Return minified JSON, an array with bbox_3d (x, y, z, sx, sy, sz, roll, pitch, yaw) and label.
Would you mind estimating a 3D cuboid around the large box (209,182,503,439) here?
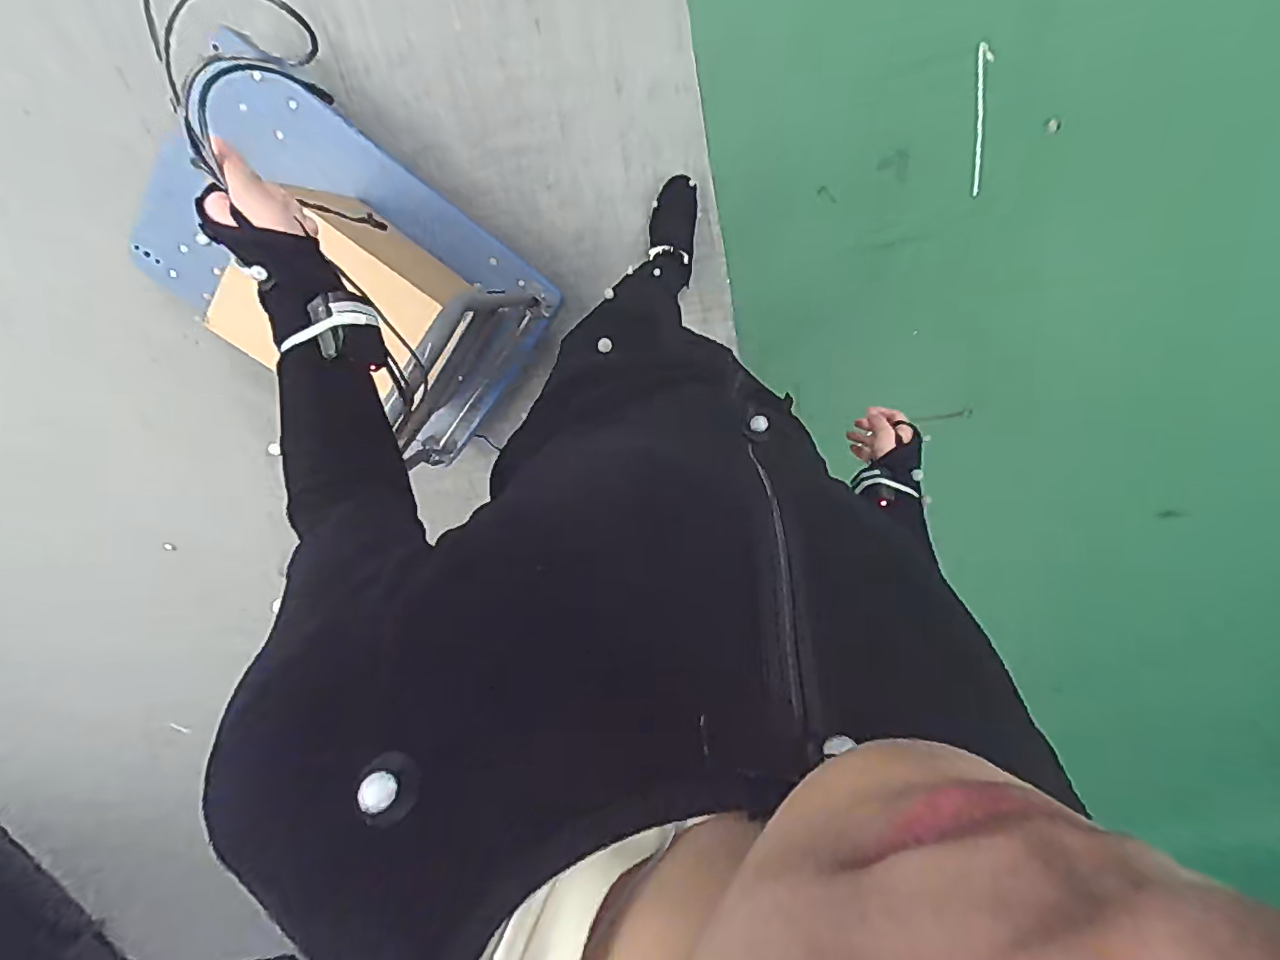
[{"bbox_3d":[-0.573,-0.357,1.163,0.408,0.320,0.320,36,108,-13],"label":"large box"}]
